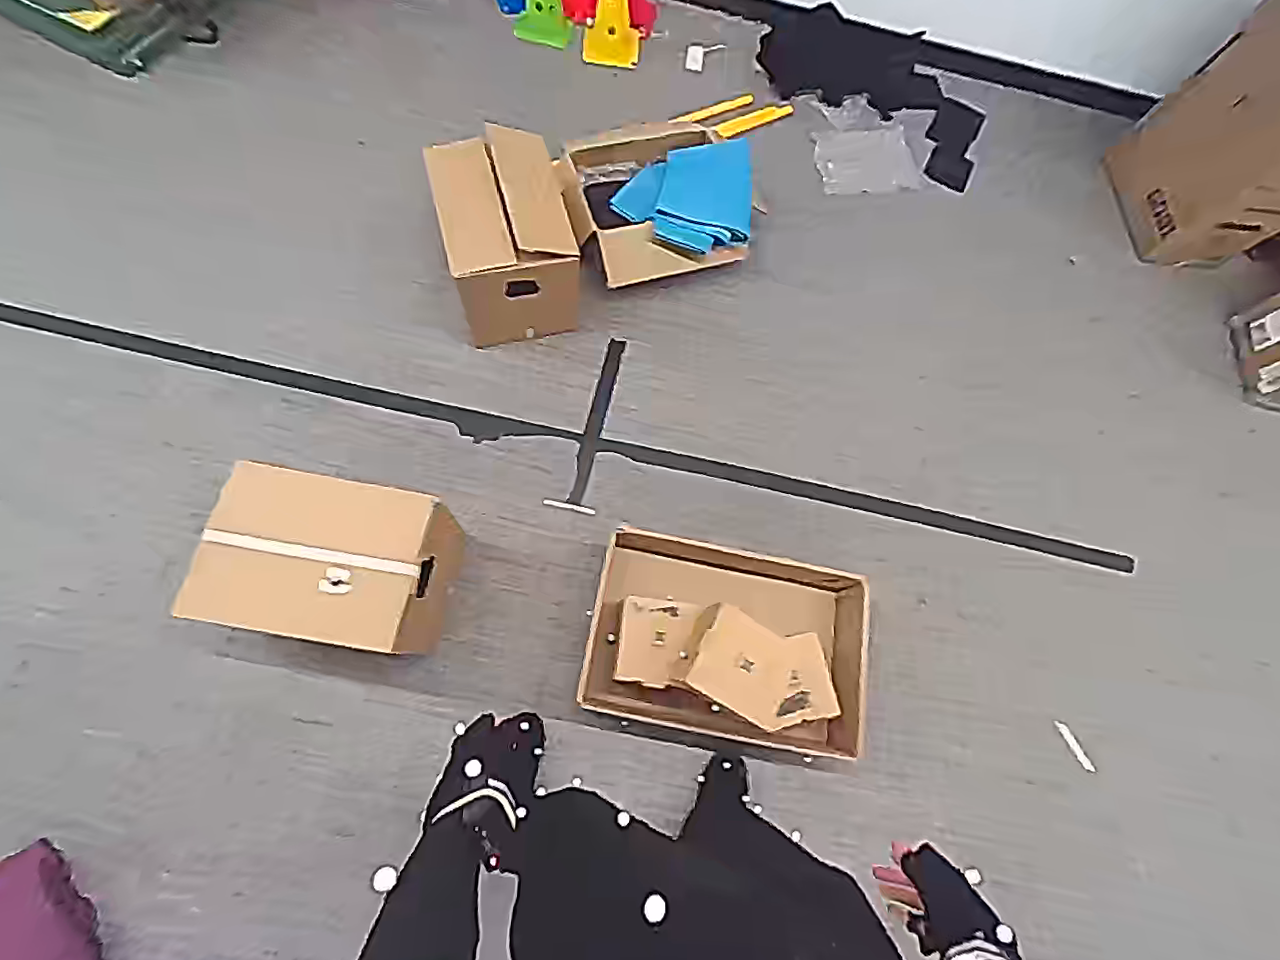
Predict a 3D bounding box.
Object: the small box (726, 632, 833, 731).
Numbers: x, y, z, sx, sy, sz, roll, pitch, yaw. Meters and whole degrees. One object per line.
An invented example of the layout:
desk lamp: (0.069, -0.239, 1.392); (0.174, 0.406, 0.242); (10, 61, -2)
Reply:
small box: (0.307, 0.451, 1.226); (0.168, 0.176, 0.179); (-9, 71, -8)

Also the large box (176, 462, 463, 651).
large box: (-0.649, 0.185, 1.183); (0.408, 0.320, 0.320); (10, 71, -4)
